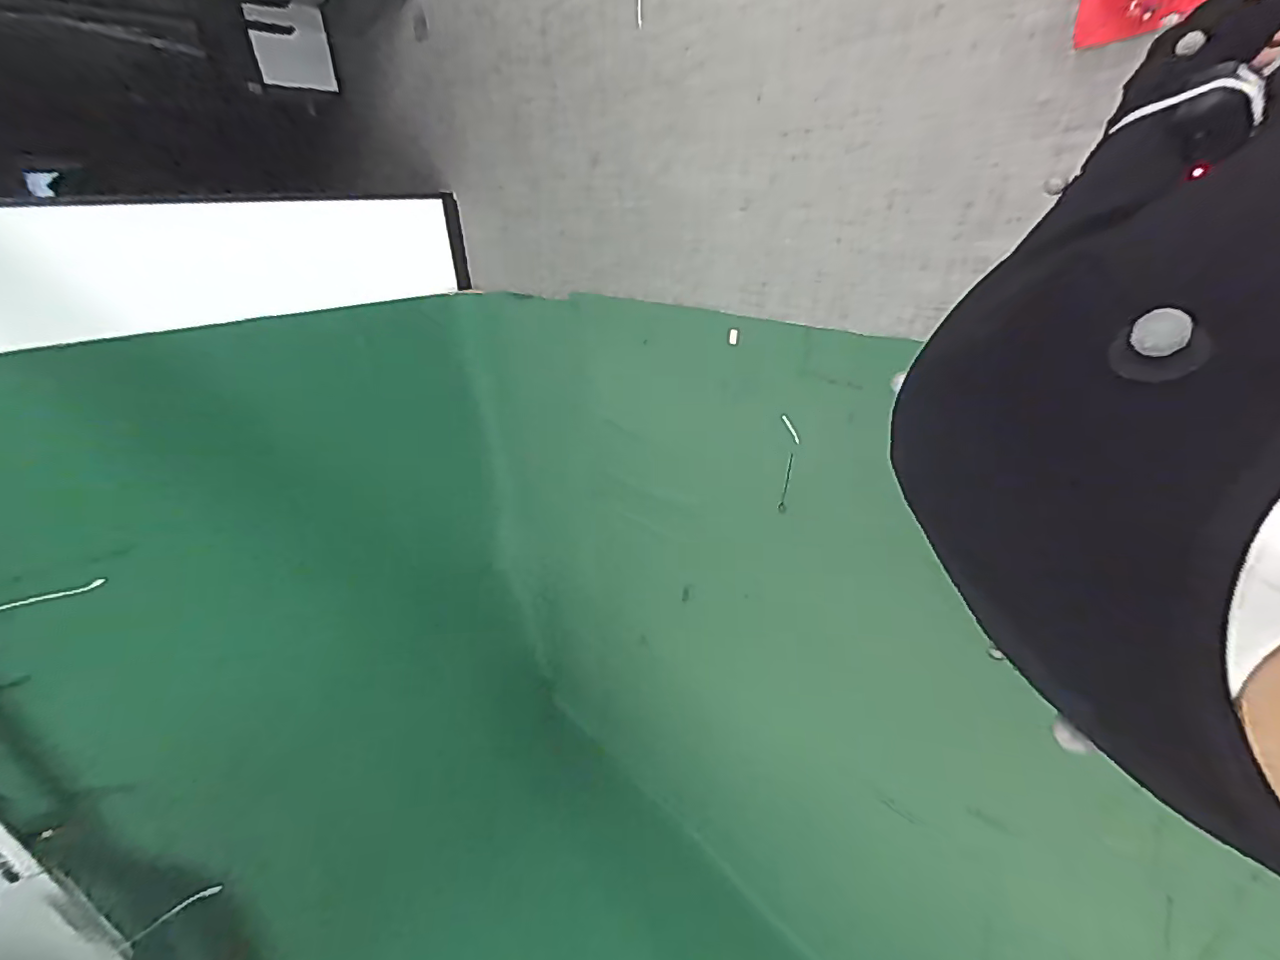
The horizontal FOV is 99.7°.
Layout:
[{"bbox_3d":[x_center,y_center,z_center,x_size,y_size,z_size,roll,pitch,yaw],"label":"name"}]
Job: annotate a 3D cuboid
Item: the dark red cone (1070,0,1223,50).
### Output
[{"bbox_3d":[0.746,-0.810,0.811,0.202,0.394,0.201,18,124,45],"label":"dark red cone"}]
